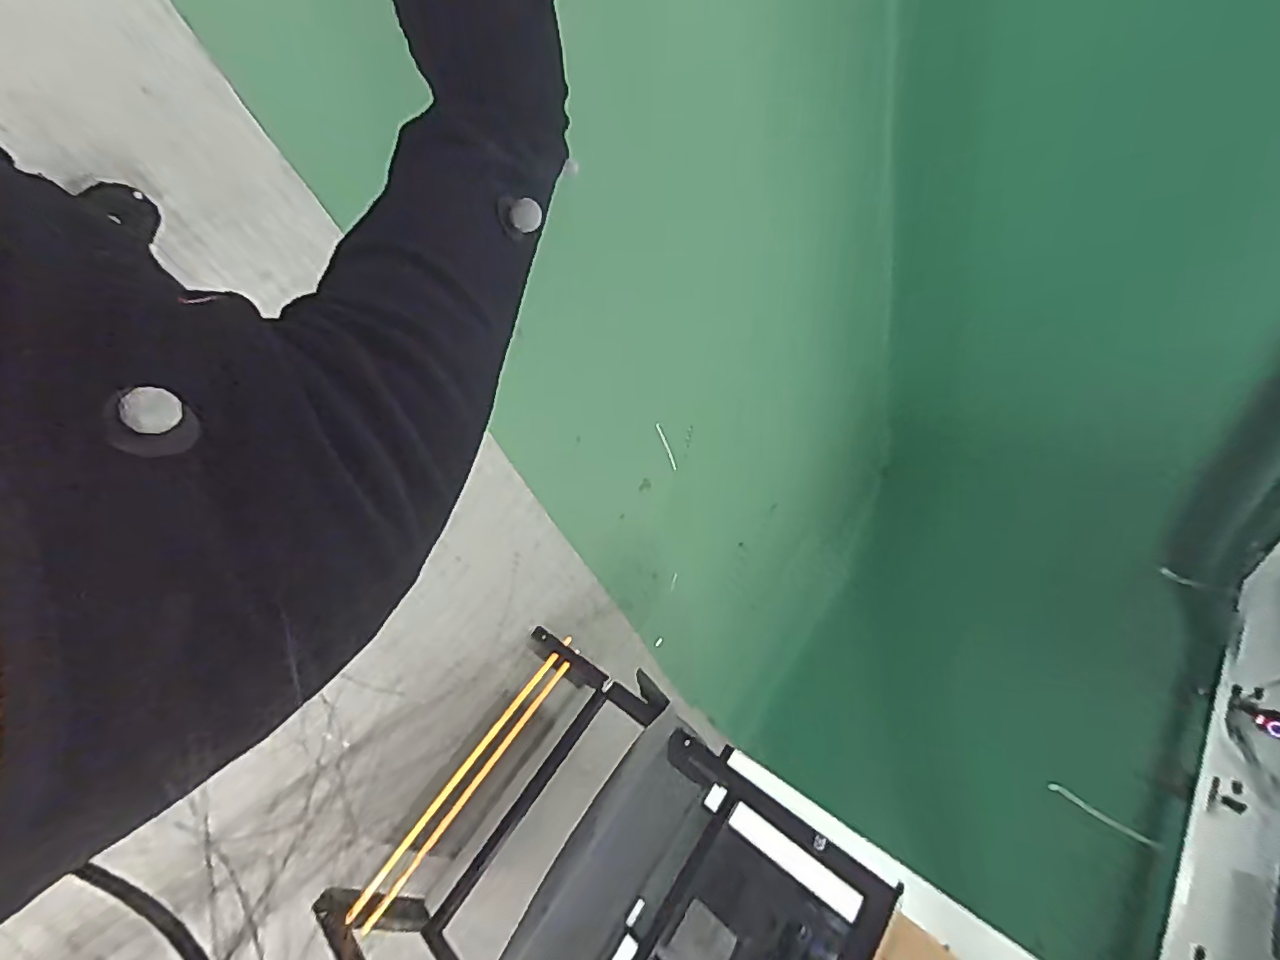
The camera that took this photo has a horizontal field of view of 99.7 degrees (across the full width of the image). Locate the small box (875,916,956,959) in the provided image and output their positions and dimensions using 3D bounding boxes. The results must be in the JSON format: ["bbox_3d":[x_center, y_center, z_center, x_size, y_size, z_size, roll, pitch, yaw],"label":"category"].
[{"bbox_3d":[0.682,1.227,1.340,0.168,0.176,0.179,-54,140,-16],"label":"small box"}]
